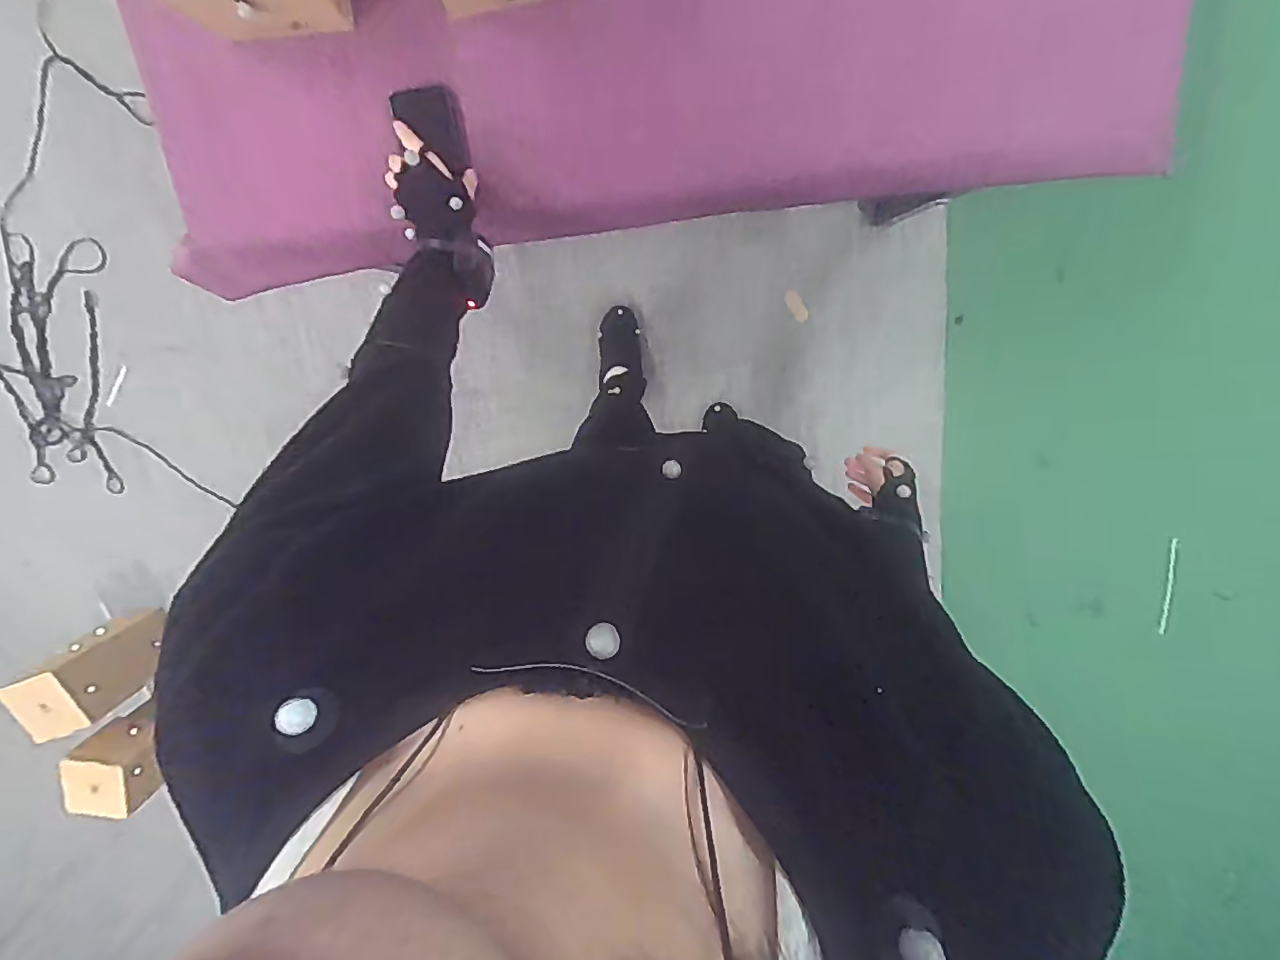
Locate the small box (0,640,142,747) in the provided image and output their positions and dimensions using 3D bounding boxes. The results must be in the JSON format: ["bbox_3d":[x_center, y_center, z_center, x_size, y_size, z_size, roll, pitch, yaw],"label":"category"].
[{"bbox_3d":[-1.497,0.560,1.431,0.168,0.176,0.179,-19,105,5],"label":"small box"}]

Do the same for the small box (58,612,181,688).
[{"bbox_3d":[-1.509,0.511,1.587,0.179,0.176,0.168,-15,105,5],"label":"small box"}]

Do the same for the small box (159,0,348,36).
[{"bbox_3d":[-0.418,-0.573,0.527,0.168,0.176,0.179,-5,106,2],"label":"small box"}]

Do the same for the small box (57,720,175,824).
[{"bbox_3d":[-1.444,0.806,1.502,0.168,0.176,0.179,9,104,-1],"label":"small box"}]
